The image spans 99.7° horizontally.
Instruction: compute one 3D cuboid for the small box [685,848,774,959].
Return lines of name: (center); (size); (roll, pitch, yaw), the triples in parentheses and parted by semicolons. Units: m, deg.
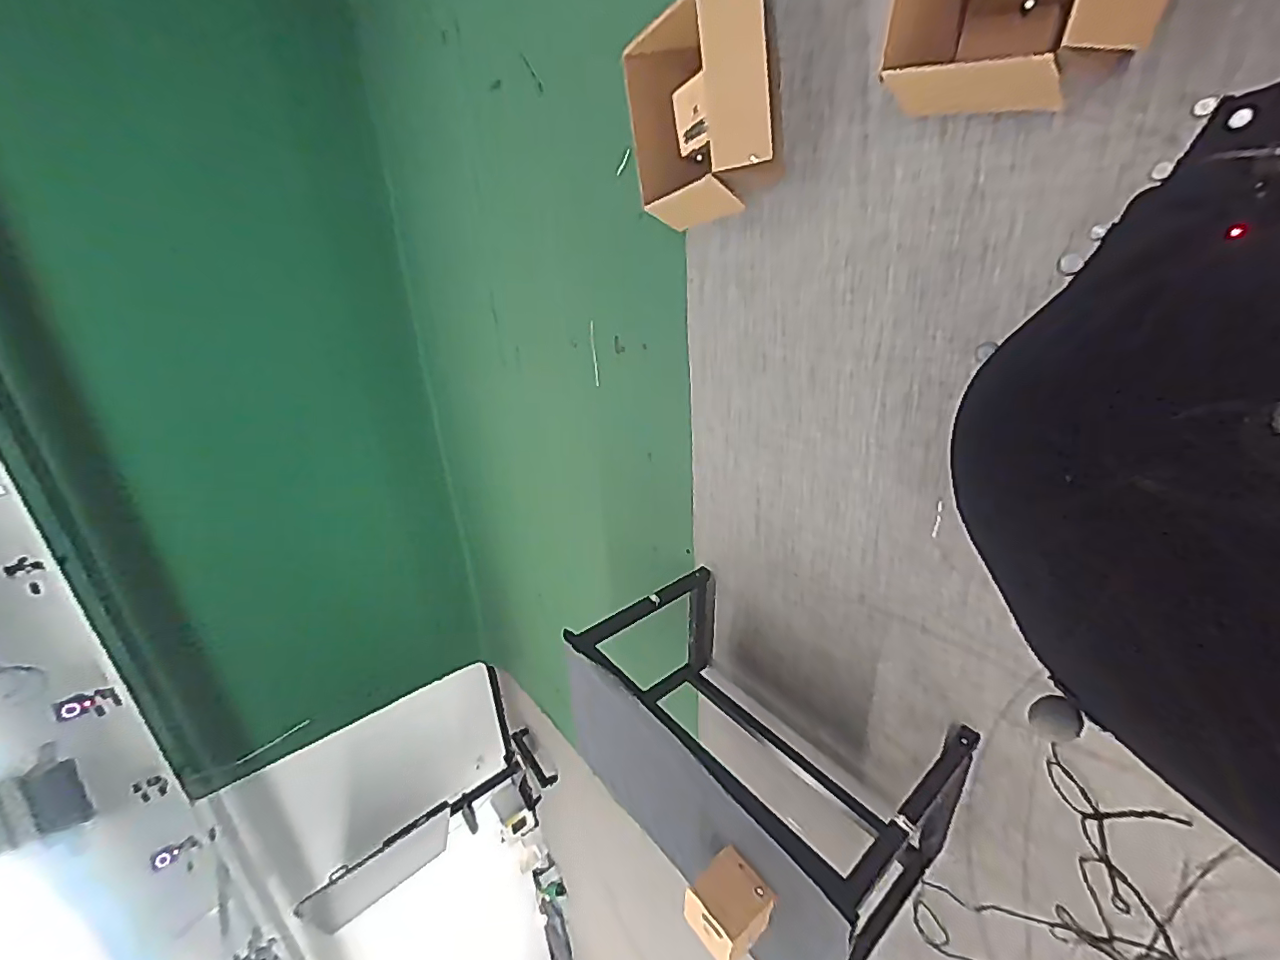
small box: (0.242, 1.152, 1.459); (0.168, 0.176, 0.179); (31, 131, 43)
